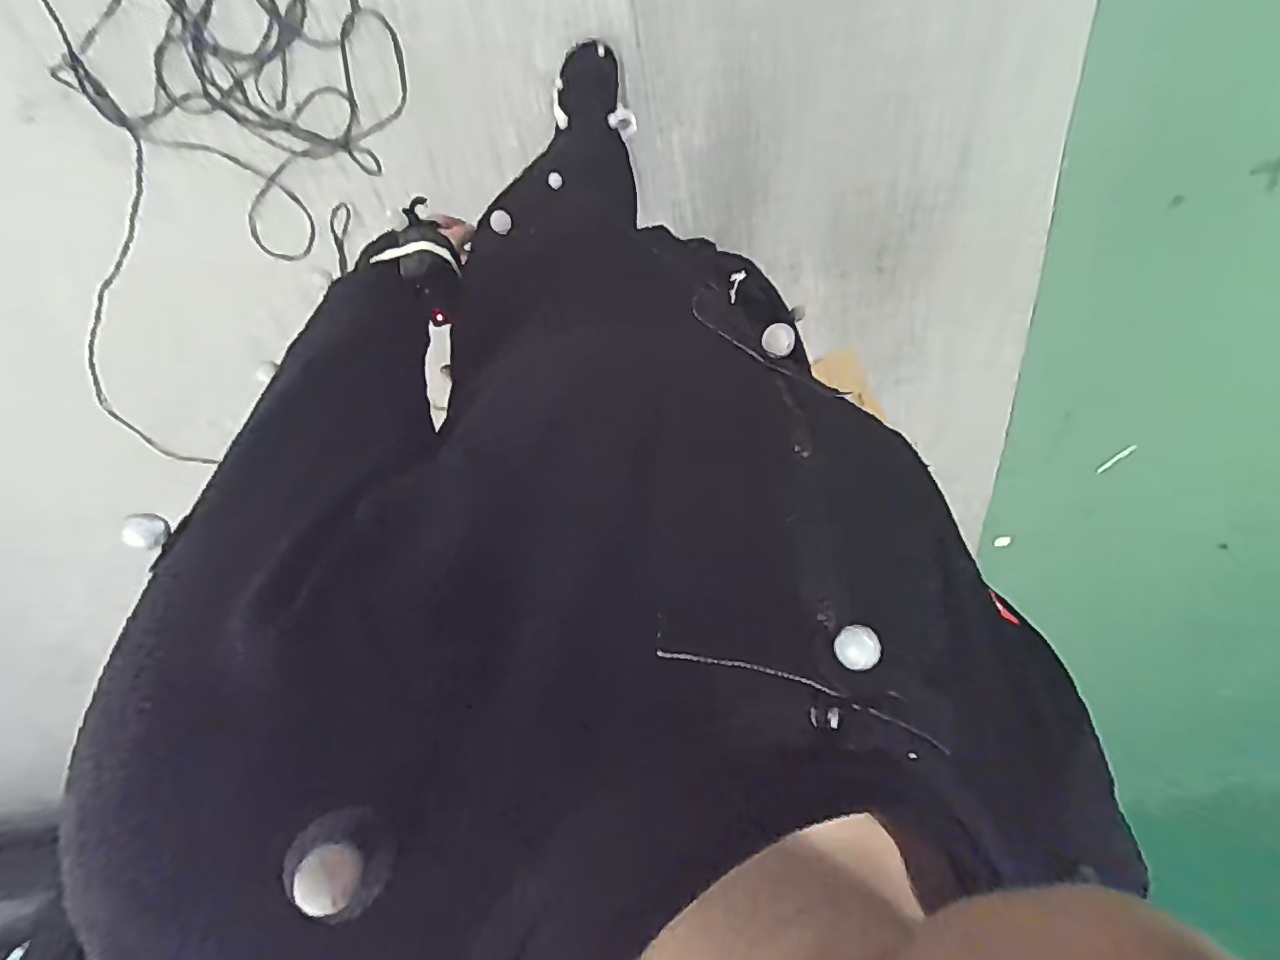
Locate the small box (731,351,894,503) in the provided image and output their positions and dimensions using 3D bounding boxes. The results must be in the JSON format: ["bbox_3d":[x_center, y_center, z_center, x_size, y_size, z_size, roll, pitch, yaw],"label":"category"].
[{"bbox_3d":[0.263,-0.081,0.841,0.176,0.179,0.168,-25,92,38],"label":"small box"}]
